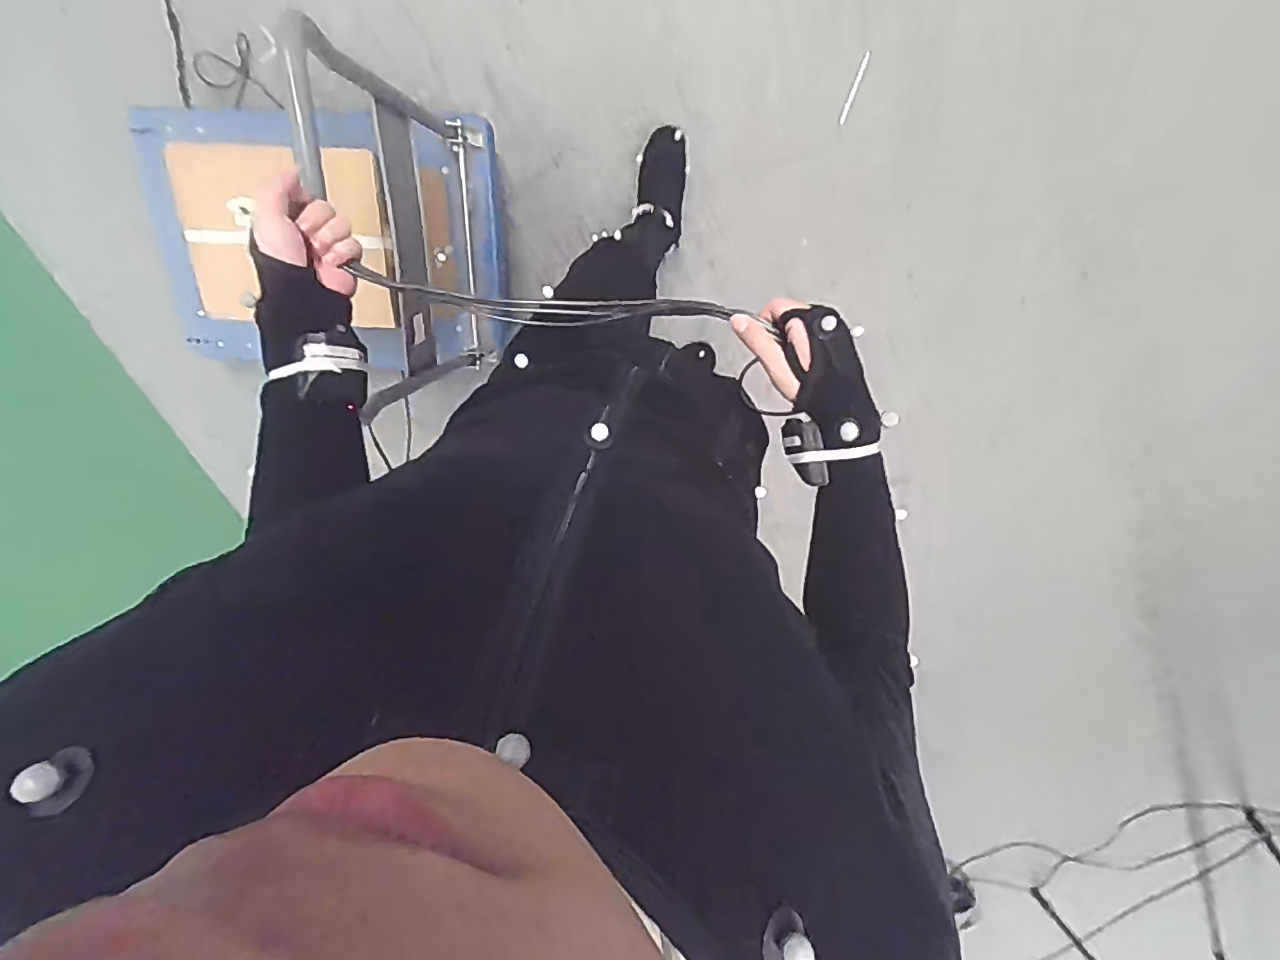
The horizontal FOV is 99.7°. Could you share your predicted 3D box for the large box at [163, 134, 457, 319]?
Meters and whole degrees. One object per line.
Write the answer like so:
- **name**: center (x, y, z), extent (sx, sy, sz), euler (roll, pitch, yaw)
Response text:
- **large box**: center (-0.656, -0.531, 1.156), extent (0.408, 0.320, 0.320), euler (5, 112, 5)
